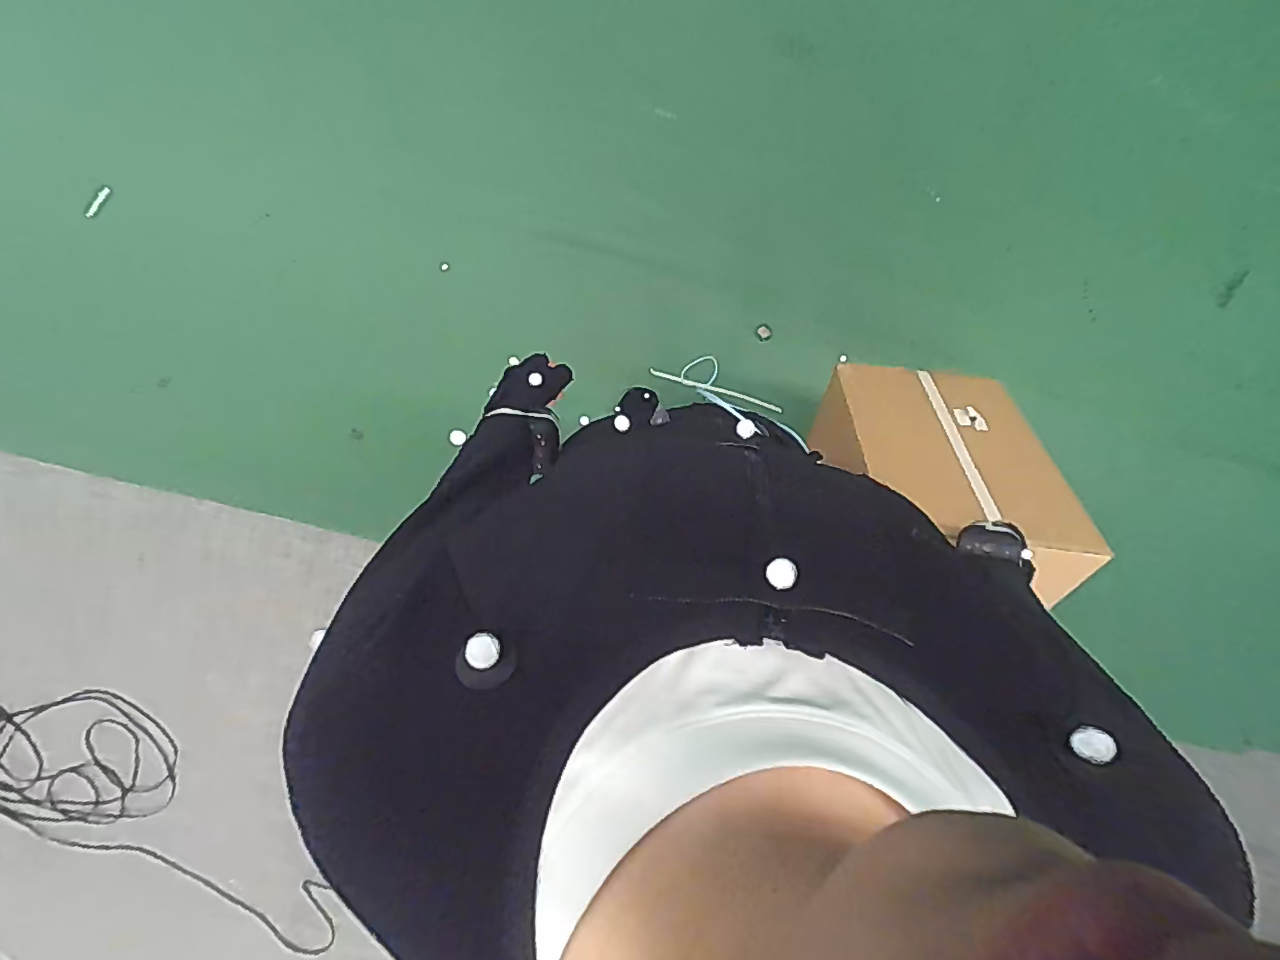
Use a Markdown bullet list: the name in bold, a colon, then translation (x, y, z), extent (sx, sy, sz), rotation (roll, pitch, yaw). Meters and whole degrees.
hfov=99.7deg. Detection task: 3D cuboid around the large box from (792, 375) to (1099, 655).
- **large box**: translation (0.490, 0.059, 0.989), extent (0.320, 0.408, 0.320), rotation (7, 135, 0)
